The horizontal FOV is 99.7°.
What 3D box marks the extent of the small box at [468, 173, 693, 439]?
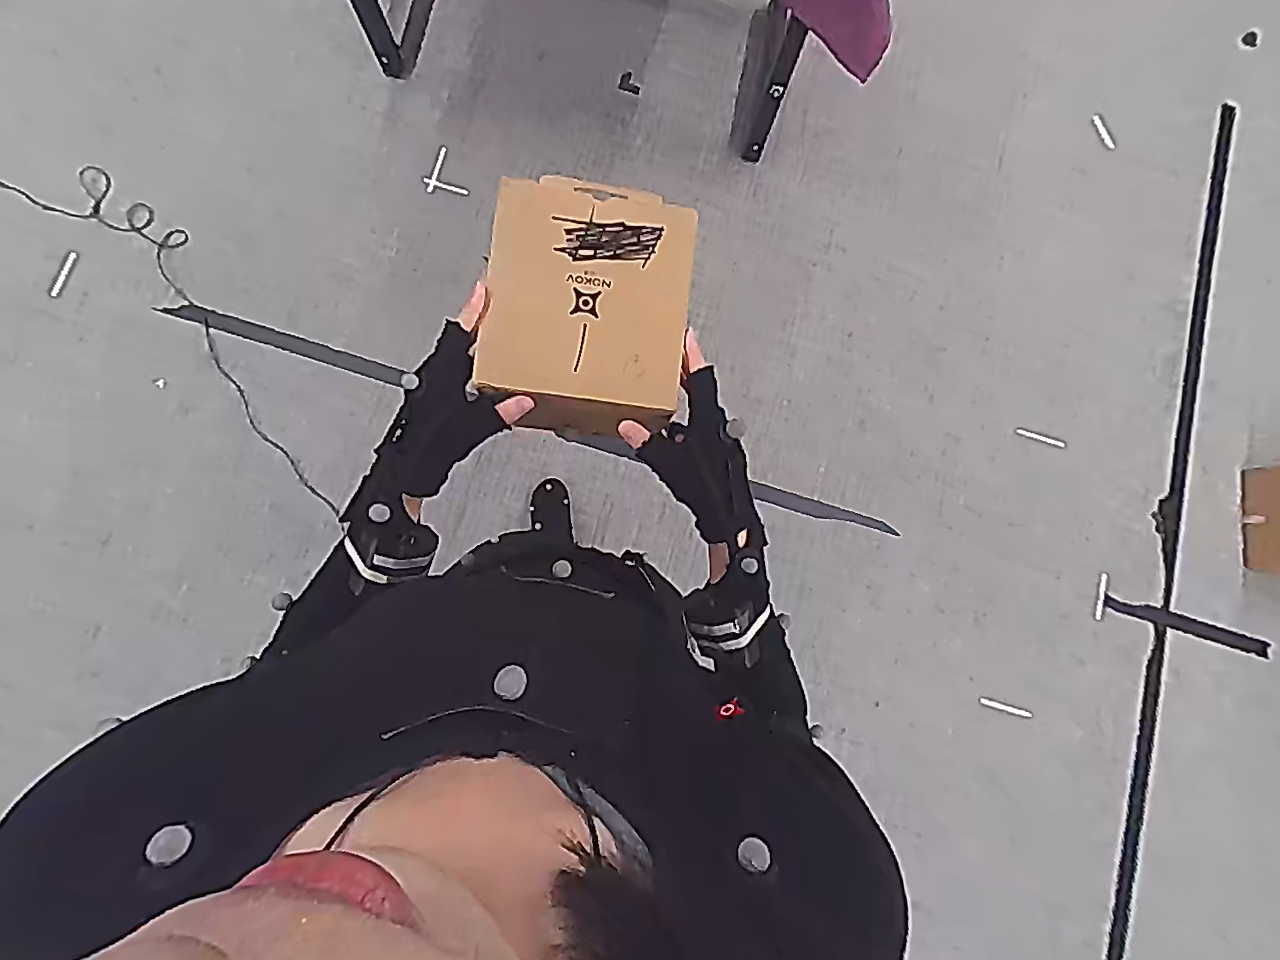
[{"bbox_3d":[-0.054,-0.146,0.515,0.168,0.176,0.179,7,84,-5],"label":"small box"}]
